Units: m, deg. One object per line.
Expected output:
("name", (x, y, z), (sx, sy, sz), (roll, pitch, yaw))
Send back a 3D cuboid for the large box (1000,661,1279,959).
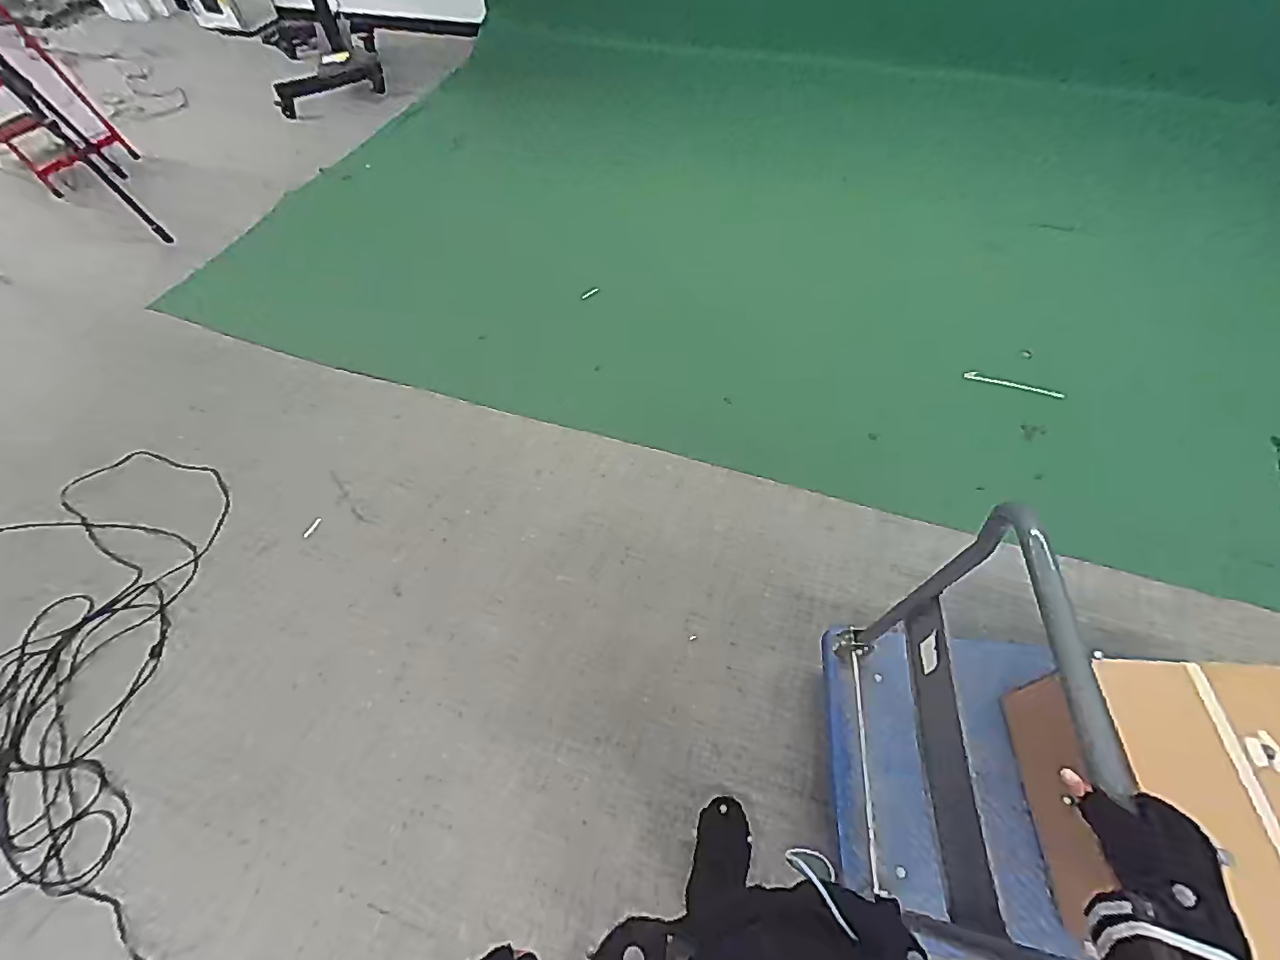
("large box", (0.902, 0.559, 0.921), (0.320, 0.320, 0.408), (2, 56, 3))
